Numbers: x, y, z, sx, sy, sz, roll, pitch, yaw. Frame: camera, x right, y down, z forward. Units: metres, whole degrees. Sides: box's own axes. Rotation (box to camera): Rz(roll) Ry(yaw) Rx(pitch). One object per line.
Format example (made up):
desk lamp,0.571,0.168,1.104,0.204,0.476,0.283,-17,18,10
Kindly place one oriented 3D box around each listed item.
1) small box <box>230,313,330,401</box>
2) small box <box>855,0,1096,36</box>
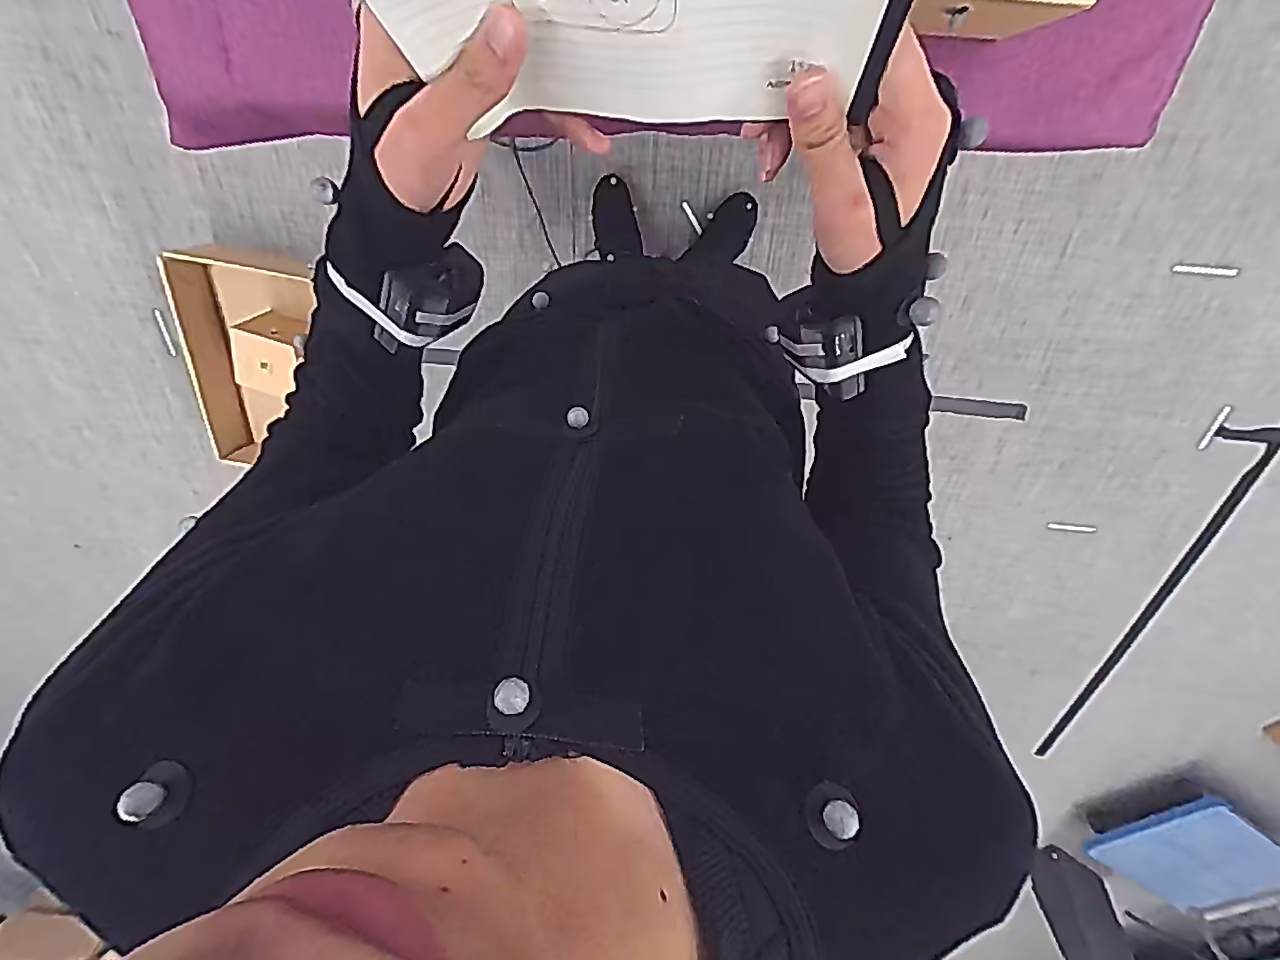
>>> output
small box,-0.993,-0.350,1.511,0.179,0.176,0.168,17,122,-6
small box,0.314,-0.519,0.482,0.179,0.176,0.168,6,122,1
